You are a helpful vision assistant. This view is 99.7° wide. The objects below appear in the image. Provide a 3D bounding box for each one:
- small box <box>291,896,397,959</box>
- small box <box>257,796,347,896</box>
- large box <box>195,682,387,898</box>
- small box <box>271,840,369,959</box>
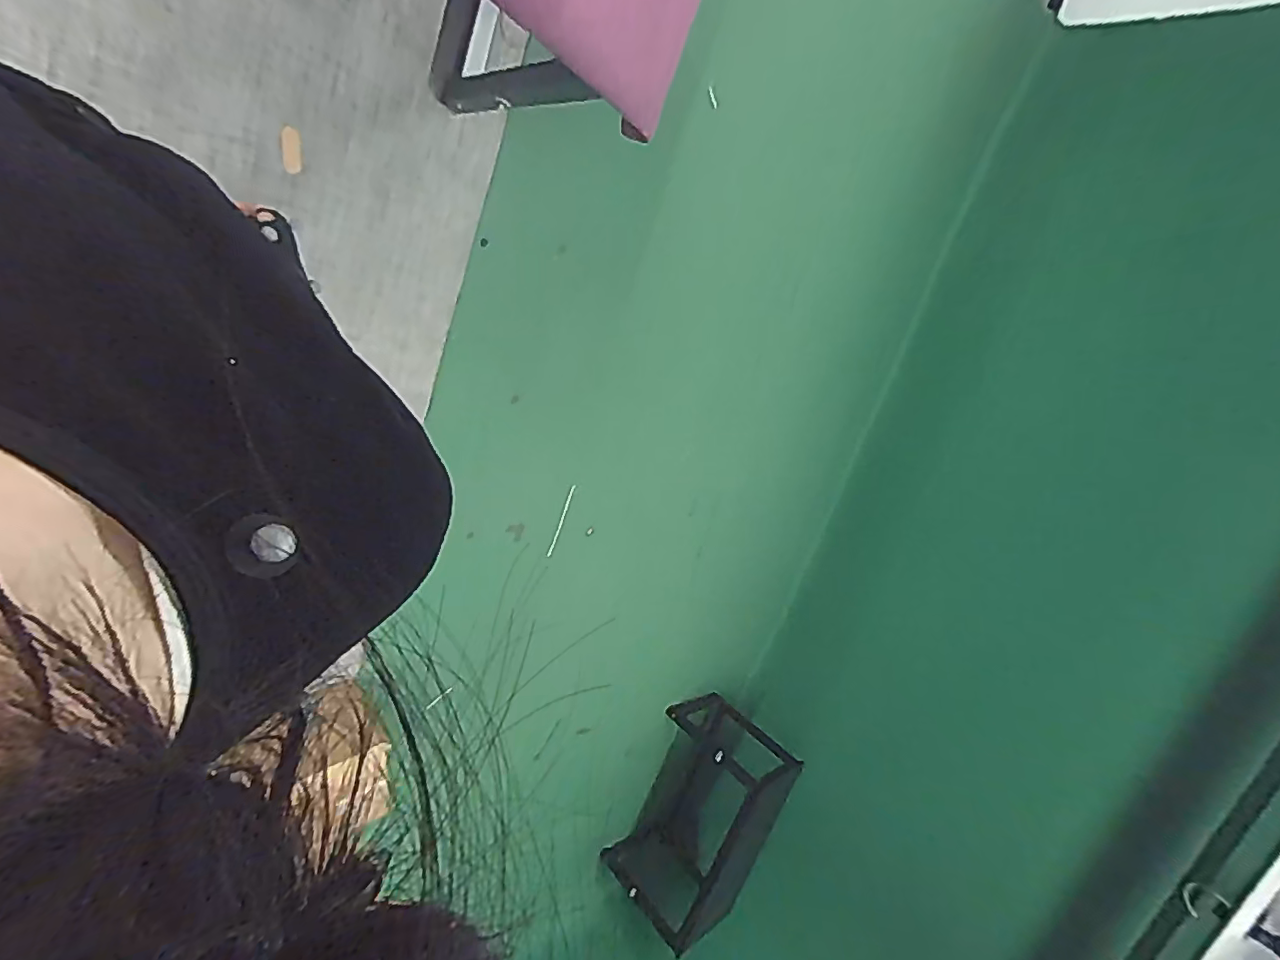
[{"bbox_3d":[-0.657,1.092,1.198,0.179,0.176,0.168,-10,119,-42],"label":"small box"},{"bbox_3d":[-0.876,0.964,1.405,0.168,0.176,0.179,-10,119,-43],"label":"small box"},{"bbox_3d":[-1.013,0.878,1.593,0.408,0.320,0.320,-12,122,-44],"label":"large box"},{"bbox_3d":[-0.769,1.028,1.300,0.179,0.176,0.168,-12,120,-43],"label":"small box"}]
